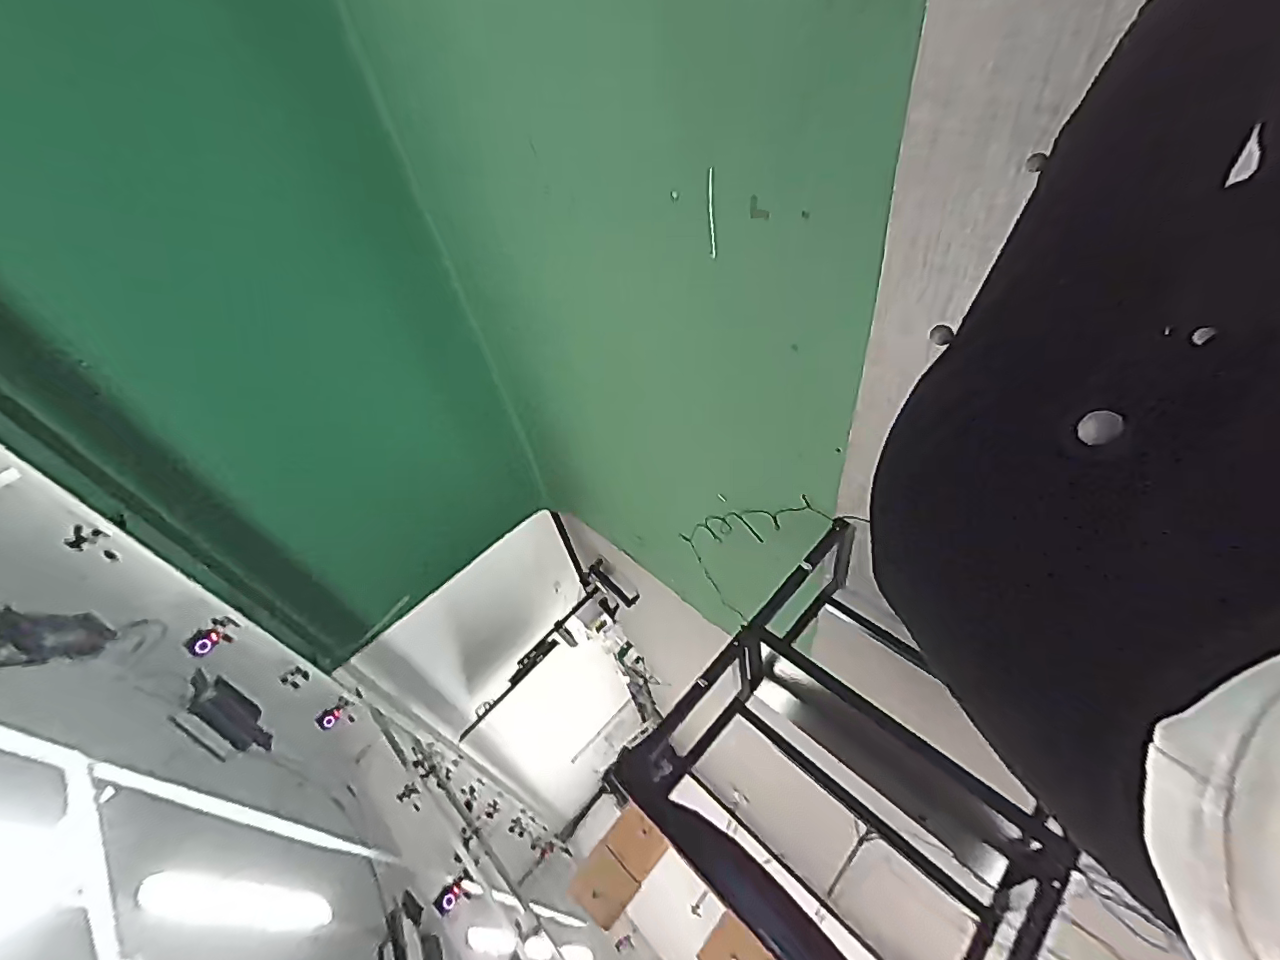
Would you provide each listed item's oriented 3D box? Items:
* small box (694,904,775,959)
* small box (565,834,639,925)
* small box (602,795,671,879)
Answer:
[{"bbox_3d":[0.290,1.437,1.649,0.179,0.176,0.168,32,152,33],"label":"small box"},{"bbox_3d":[-0.119,1.349,1.828,0.179,0.176,0.168,32,150,34],"label":"small box"},{"bbox_3d":[-0.007,1.254,1.903,0.168,0.176,0.179,32,150,34],"label":"small box"}]
